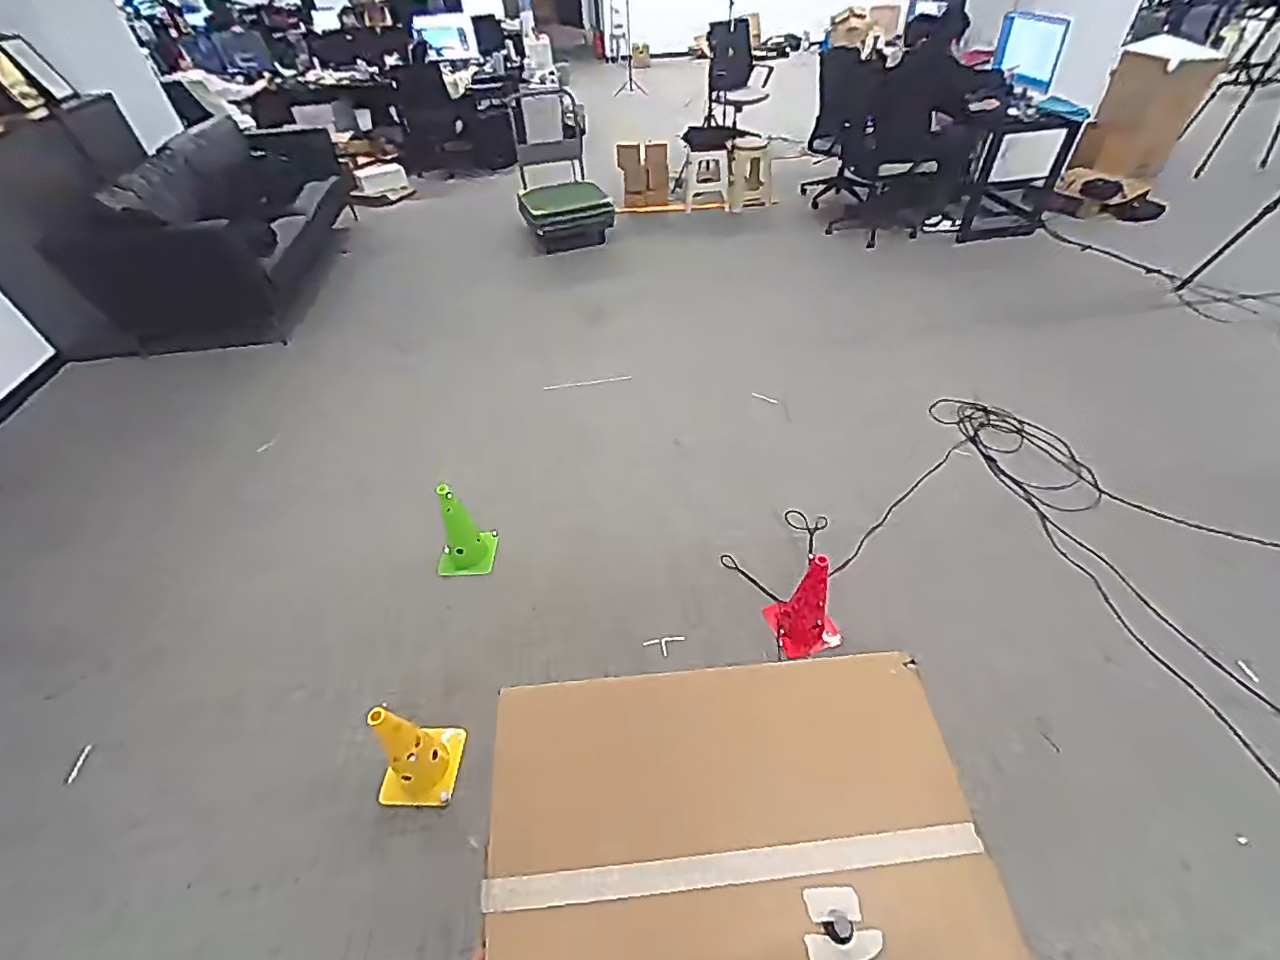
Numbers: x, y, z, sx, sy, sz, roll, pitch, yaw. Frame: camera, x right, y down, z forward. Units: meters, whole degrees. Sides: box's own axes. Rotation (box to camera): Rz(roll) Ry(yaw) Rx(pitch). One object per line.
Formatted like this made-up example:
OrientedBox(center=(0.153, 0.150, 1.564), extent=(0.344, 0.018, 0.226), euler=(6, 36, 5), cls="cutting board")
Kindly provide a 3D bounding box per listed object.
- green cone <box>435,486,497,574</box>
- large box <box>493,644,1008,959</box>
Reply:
OrientedBox(center=(-0.662, 0.153, 1.935), extent=(0.200, 0.368, 0.202), euler=(-3, 46, 1), cls="green cone")
OrientedBox(center=(0.075, 0.395, 0.578), extent=(0.408, 0.320, 0.320), euler=(-4, 56, -4), cls="large box")
